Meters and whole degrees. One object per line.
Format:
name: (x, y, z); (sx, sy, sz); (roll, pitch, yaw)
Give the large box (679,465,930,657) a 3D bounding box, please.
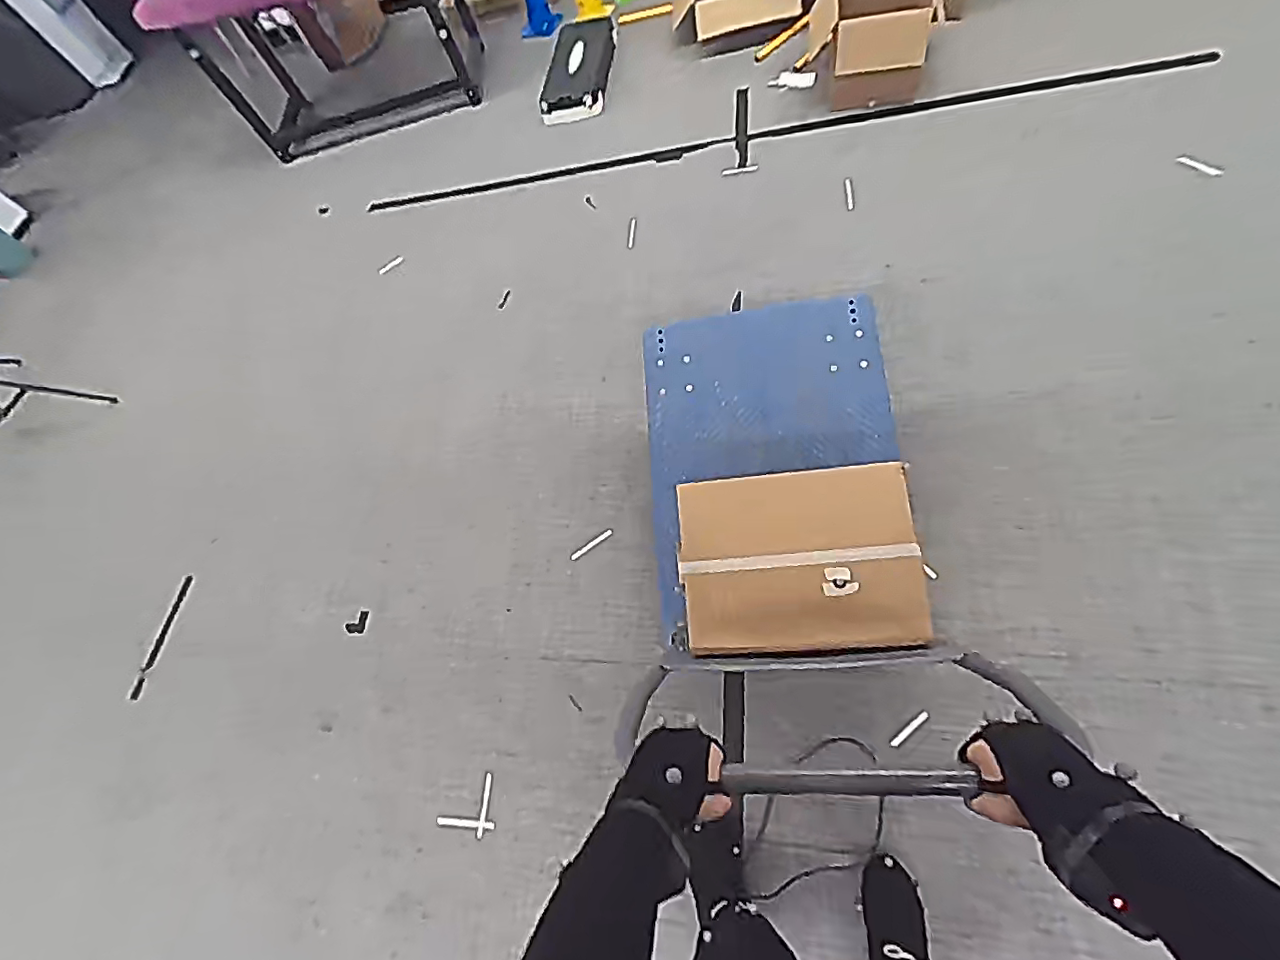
large box: (0.308, 0.176, 1.114); (0.408, 0.320, 0.320); (-7, 78, 10)
